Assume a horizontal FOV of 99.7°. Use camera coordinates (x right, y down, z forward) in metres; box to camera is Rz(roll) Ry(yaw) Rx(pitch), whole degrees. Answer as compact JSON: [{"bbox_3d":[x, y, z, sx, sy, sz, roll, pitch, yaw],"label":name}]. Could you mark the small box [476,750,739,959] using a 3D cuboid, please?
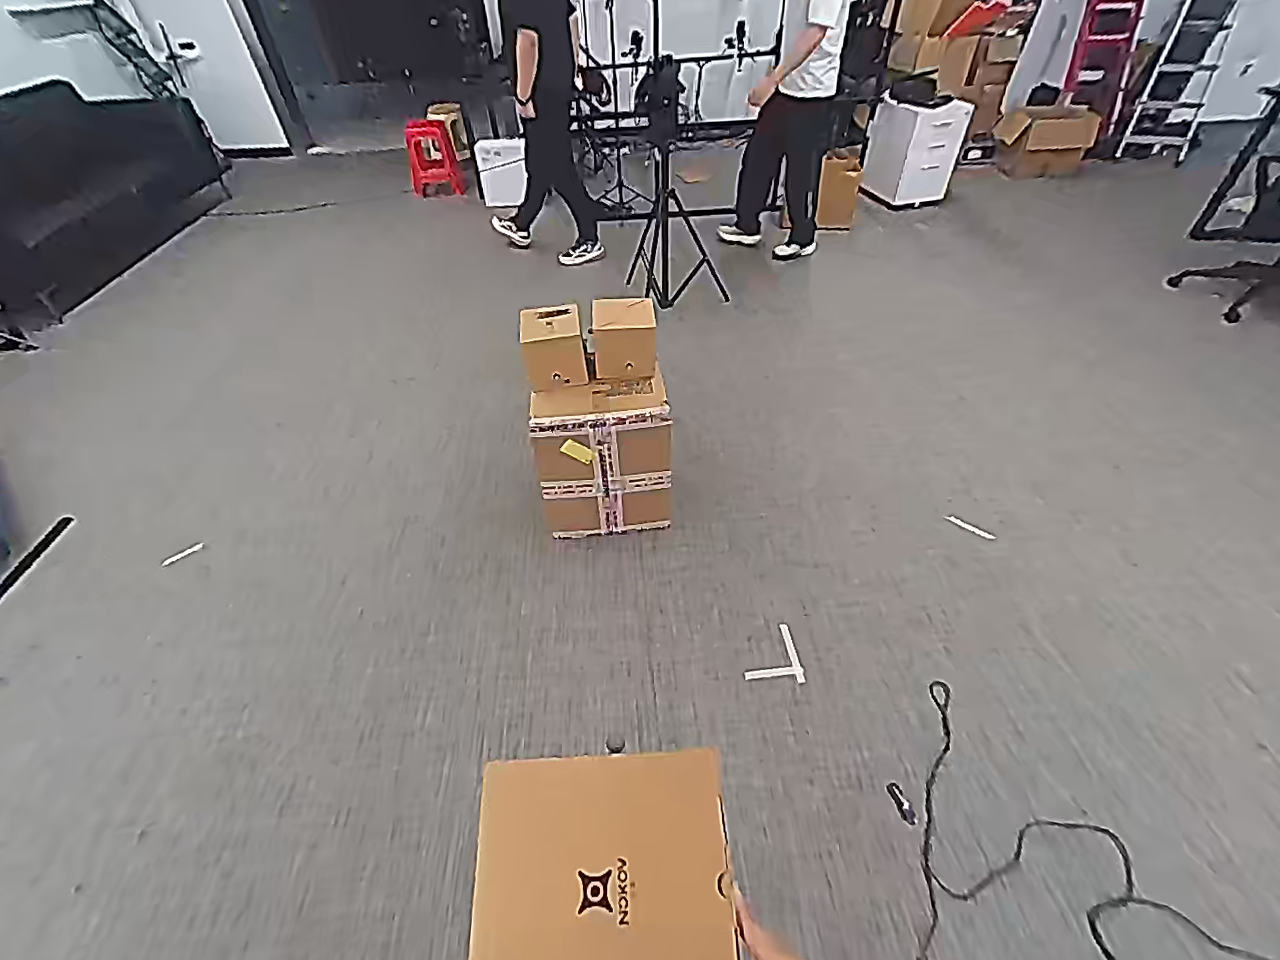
[{"bbox_3d":[-0.019,0.321,0.439,0.179,0.176,0.168,-4,59,1],"label":"small box"}]
